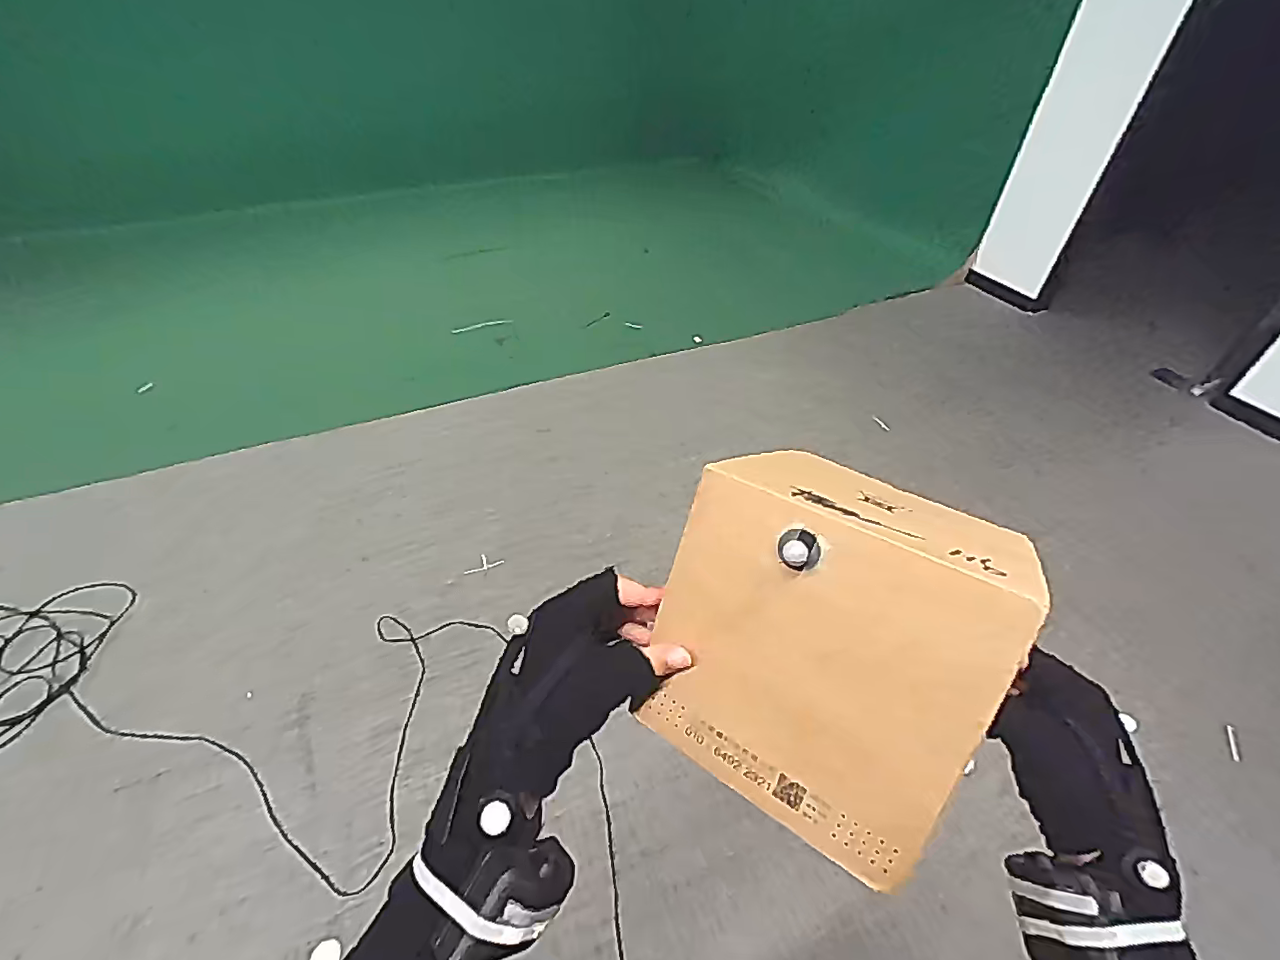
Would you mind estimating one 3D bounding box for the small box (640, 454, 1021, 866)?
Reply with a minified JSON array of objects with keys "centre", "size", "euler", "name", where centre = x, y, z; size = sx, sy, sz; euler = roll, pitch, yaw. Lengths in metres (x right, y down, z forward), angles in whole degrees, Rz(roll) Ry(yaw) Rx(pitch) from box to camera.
[{"centre":[0.122,0.090,0.360],"size":[0.168,0.176,0.179],"euler":[24,17,29],"name":"small box"}]
